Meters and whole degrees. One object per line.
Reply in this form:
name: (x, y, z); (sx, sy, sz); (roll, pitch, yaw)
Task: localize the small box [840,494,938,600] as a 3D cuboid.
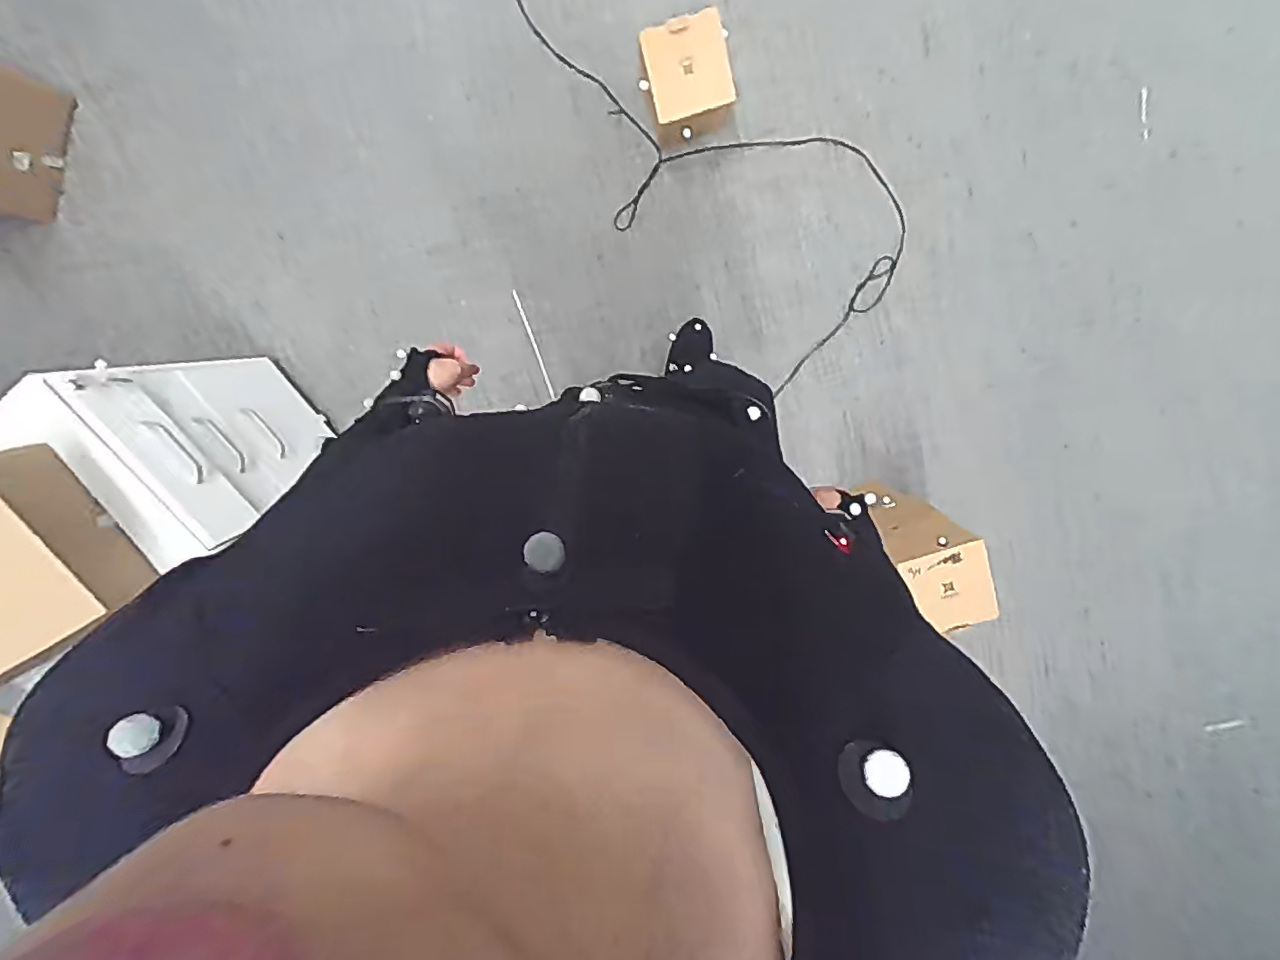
small box: (0.597, 0.154, 1.282); (0.168, 0.176, 0.179); (-18, 103, 6)

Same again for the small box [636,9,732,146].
small box: (0.095, -0.858, 1.179); (0.168, 0.176, 0.179); (-15, 104, 5)

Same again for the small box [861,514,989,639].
small box: (0.584, 0.195, 1.124); (0.168, 0.176, 0.179); (-18, 105, 6)
